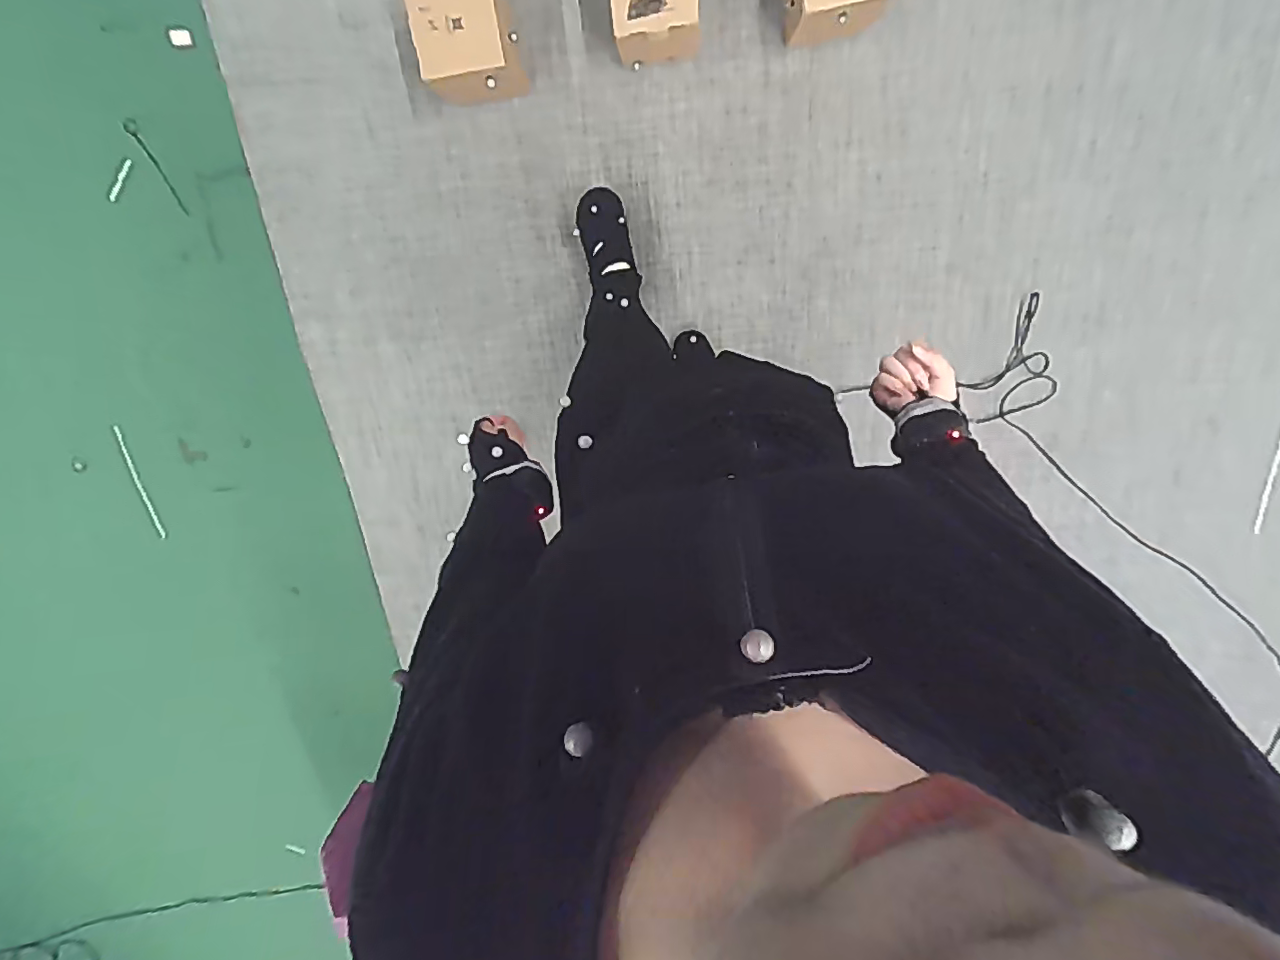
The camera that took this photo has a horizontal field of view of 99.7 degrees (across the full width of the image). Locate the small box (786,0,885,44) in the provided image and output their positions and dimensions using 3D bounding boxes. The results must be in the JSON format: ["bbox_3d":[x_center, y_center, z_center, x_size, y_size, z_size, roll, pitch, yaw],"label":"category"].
[{"bbox_3d":[0.381,-0.985,1.048,0.179,0.176,0.168,-7,111,6],"label":"small box"}]

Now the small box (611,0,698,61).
[{"bbox_3d":[0.029,-0.971,1.080,0.168,0.176,0.179,-5,110,6],"label":"small box"}]

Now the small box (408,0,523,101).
[{"bbox_3d":[-0.354,-0.920,1.128,0.179,0.176,0.168,-5,110,6],"label":"small box"}]
